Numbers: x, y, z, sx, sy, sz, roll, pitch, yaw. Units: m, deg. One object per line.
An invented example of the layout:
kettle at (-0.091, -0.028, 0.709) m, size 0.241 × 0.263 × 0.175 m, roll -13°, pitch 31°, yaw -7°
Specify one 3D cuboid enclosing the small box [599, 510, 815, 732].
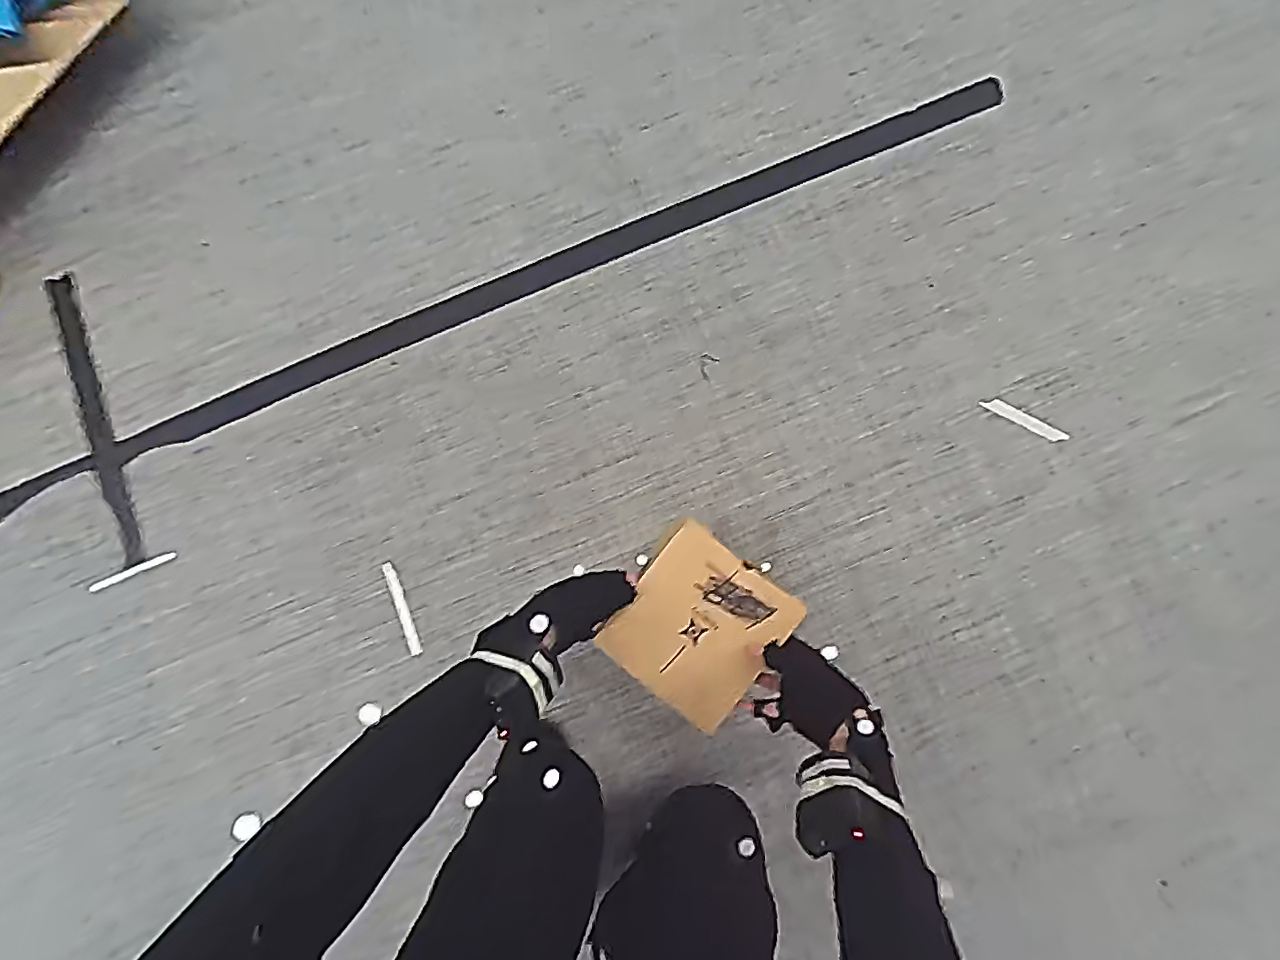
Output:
small box at (0.071, 0.150, 0.648) m, size 0.168 × 0.176 × 0.179 m, roll 38°, pitch 91°, yaw 2°
